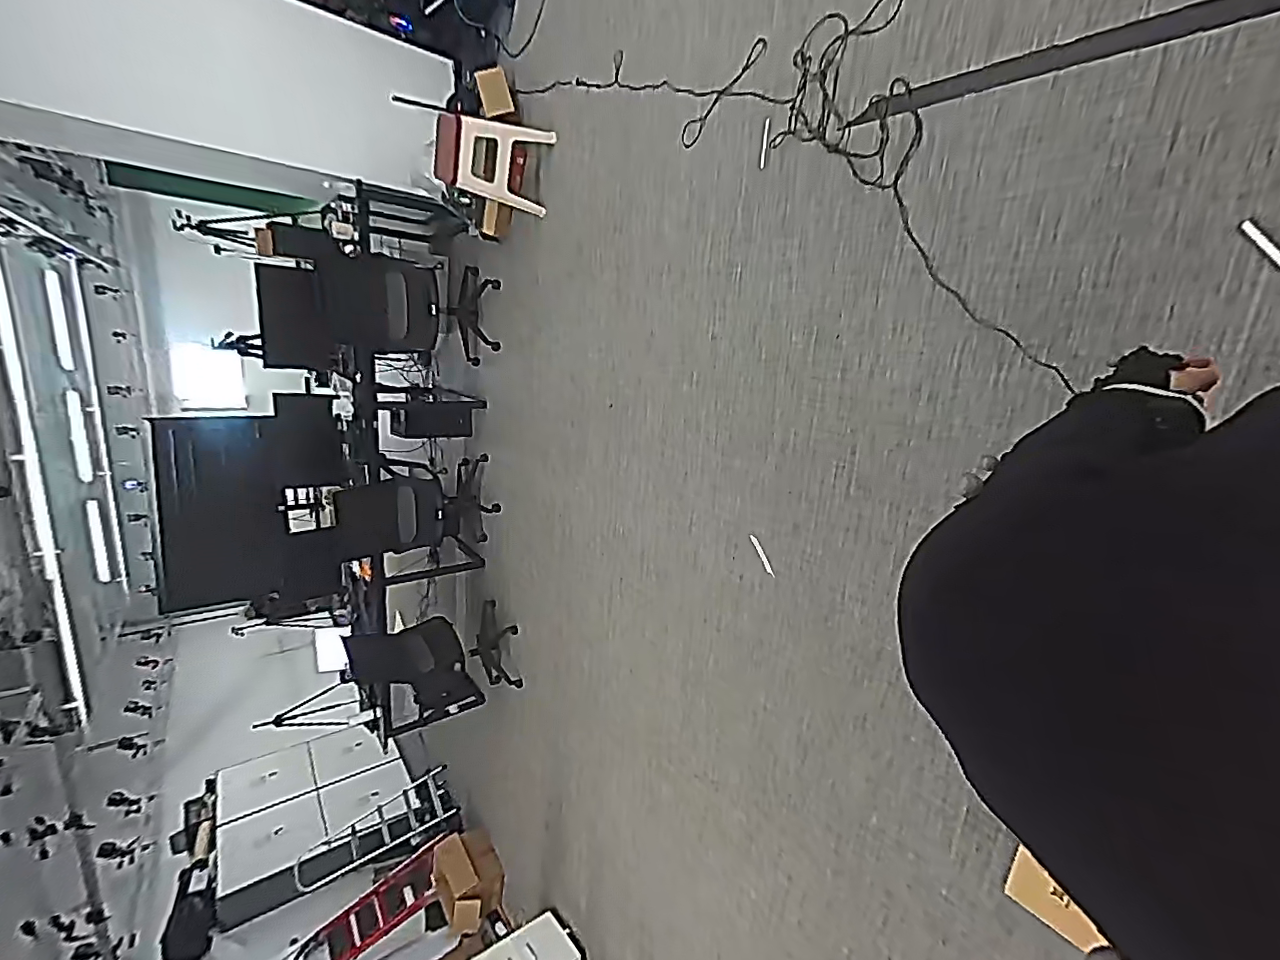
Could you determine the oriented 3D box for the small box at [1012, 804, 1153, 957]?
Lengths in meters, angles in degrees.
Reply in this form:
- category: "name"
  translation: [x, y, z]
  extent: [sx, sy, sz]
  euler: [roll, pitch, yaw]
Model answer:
- category: "small box"
  translation: [0.938, 0.830, 1.148]
  extent: [0.179, 0.176, 0.168]
  euler: [23, 113, 49]
